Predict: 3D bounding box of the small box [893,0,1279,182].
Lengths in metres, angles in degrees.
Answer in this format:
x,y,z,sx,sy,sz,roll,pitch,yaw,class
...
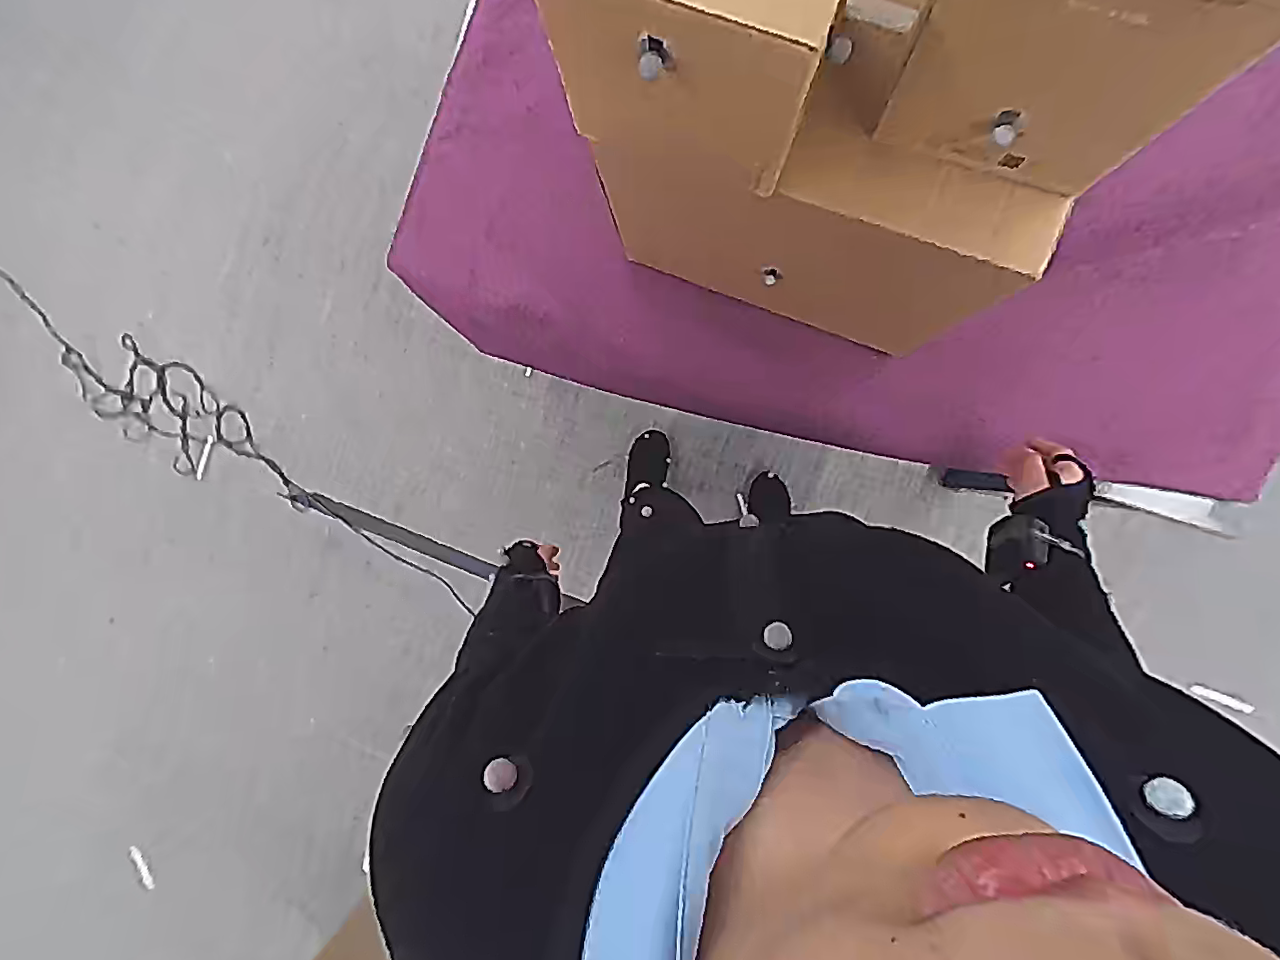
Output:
x,y,z,sx,sy,sz,roll,pitch,yaw,class
0.285,-0.329,0.332,0.168,0.176,0.179,21,93,7,small box

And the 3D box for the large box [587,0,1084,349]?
x,y,z,sx,sy,sz,roll,pitch,yaw,class
0.207,-0.375,0.587,0.408,0.320,0.320,21,92,6,large box
